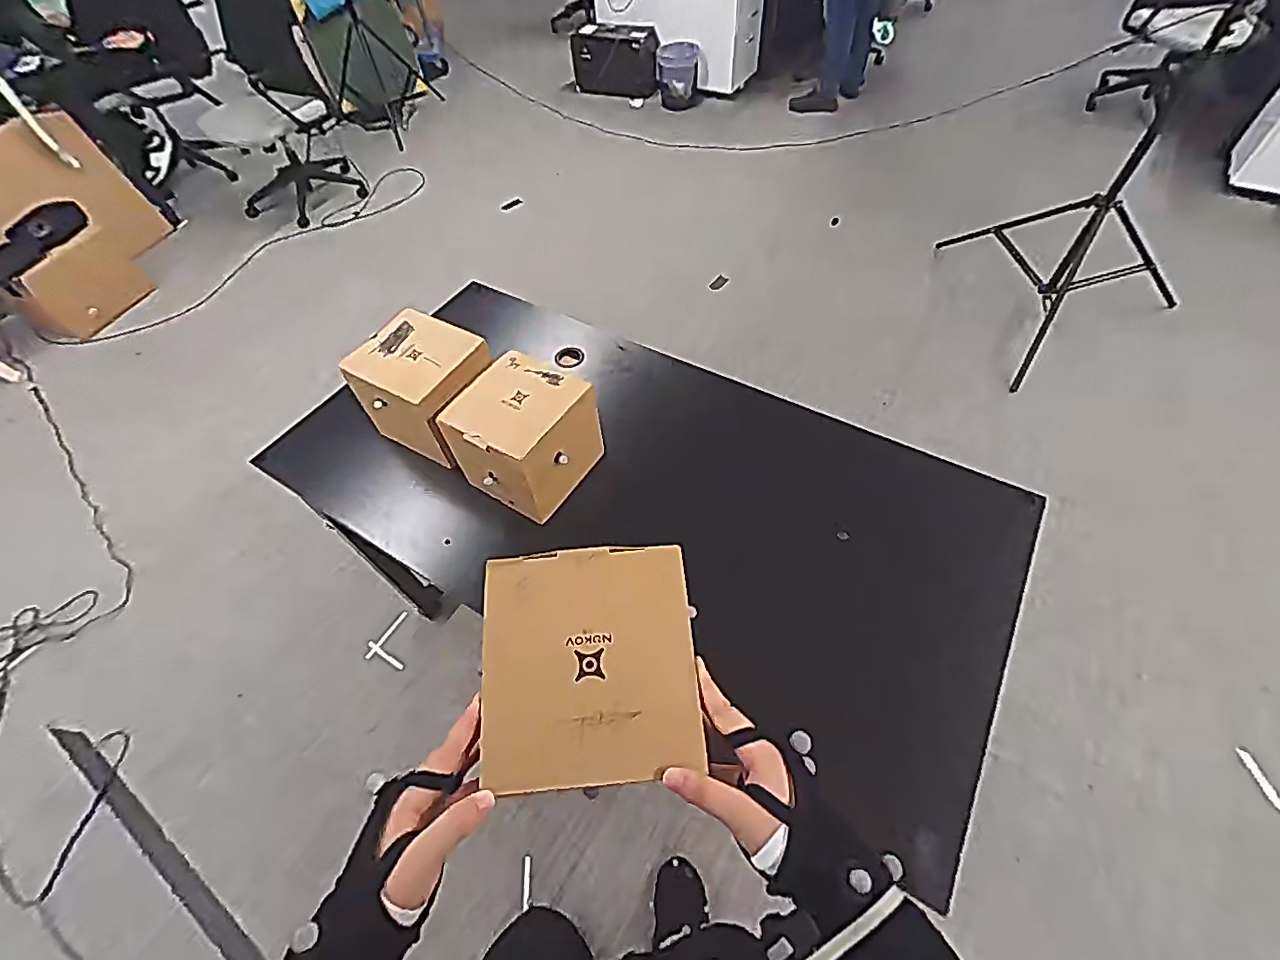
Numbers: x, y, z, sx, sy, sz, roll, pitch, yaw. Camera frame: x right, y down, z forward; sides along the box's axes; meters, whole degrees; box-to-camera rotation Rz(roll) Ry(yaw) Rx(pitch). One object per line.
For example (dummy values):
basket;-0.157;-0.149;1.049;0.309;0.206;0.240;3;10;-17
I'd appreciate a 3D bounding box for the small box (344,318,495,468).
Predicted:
small box;-0.363;-0.149;0.948;0.179;0.176;0.168;24;60;18

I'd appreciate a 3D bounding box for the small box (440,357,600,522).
small box;-0.180;-0.061;0.875;0.168;0.176;0.179;26;61;20

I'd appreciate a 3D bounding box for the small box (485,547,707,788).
small box;-0.039;0.175;0.502;0.168;0.176;0.179;-4;65;-3
